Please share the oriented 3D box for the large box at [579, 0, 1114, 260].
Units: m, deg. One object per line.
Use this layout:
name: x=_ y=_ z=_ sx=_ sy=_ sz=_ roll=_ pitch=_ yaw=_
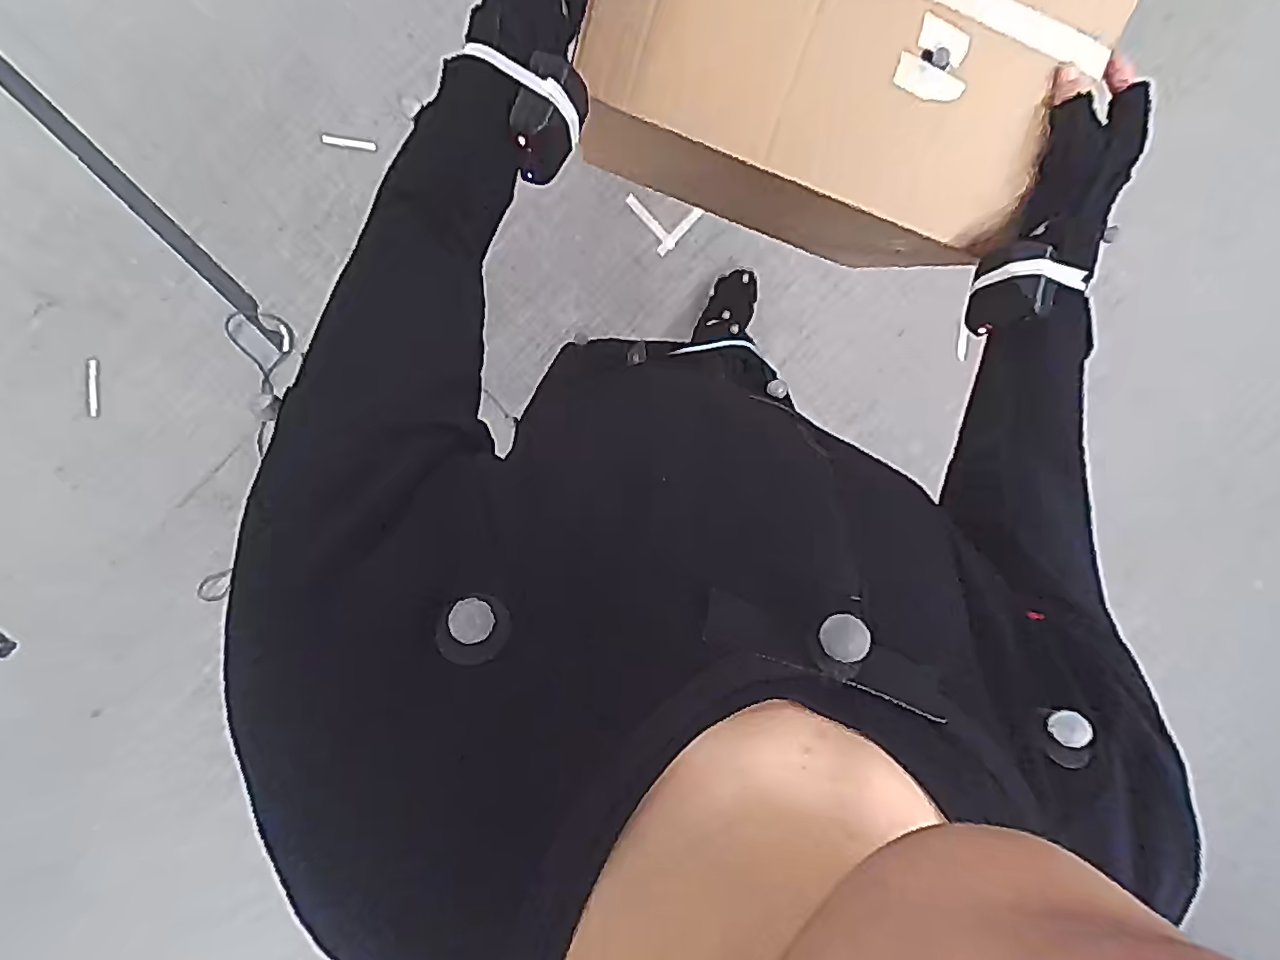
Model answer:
large box: x=0.169 y=-0.451 z=0.562 sx=0.408 sy=0.320 sz=0.320 roll=16 pitch=110 yaw=-11
